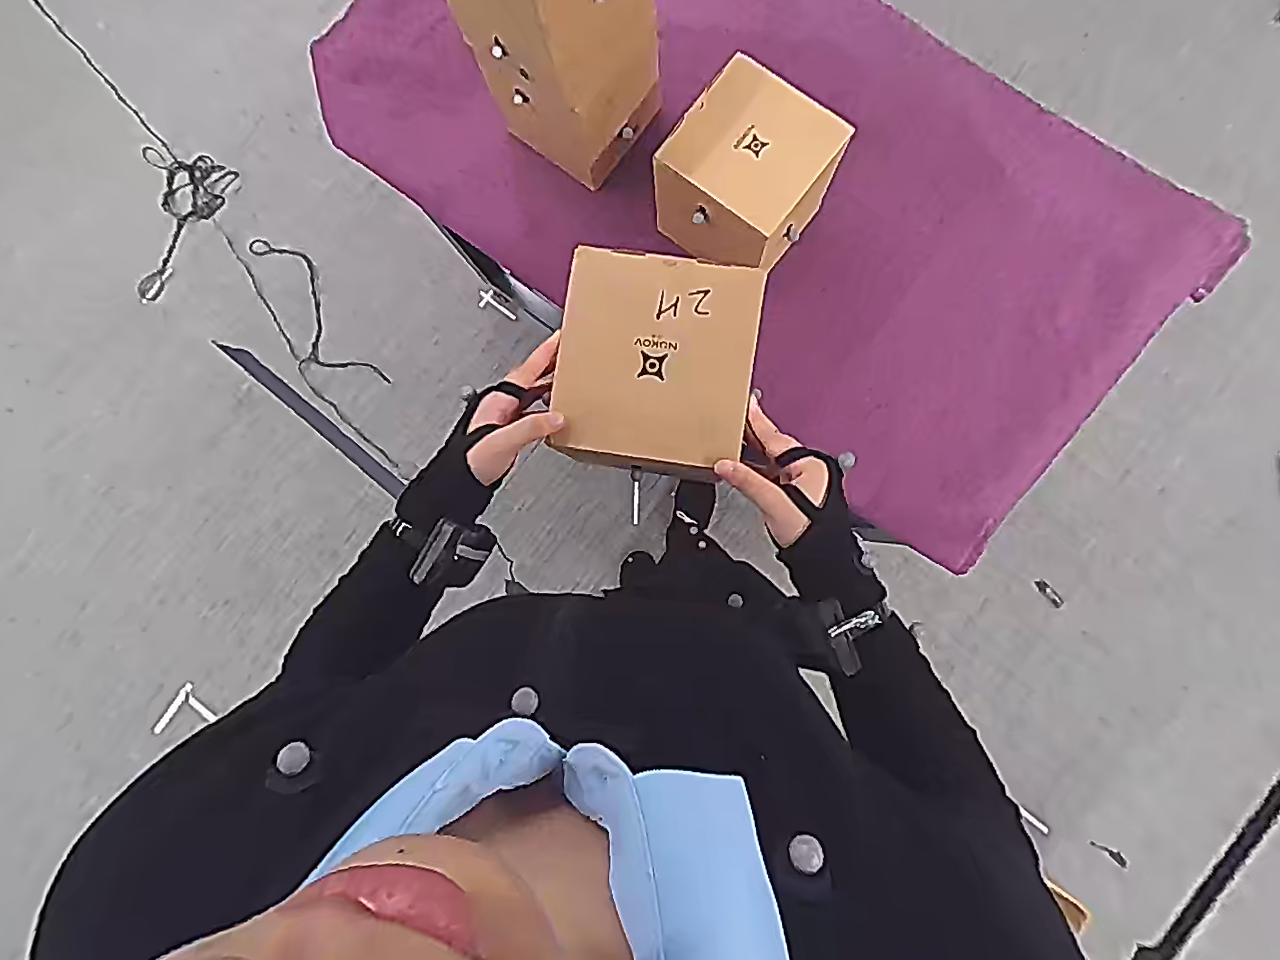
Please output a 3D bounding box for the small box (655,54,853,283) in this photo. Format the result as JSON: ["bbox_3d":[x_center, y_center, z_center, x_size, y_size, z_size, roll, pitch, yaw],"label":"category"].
[{"bbox_3d":[0.140,-0.391,0.718,0.179,0.176,0.168,38,90,6],"label":"small box"}]

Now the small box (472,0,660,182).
[{"bbox_3d":[-0.089,-0.558,0.745,0.179,0.176,0.168,38,90,5],"label":"small box"}]
